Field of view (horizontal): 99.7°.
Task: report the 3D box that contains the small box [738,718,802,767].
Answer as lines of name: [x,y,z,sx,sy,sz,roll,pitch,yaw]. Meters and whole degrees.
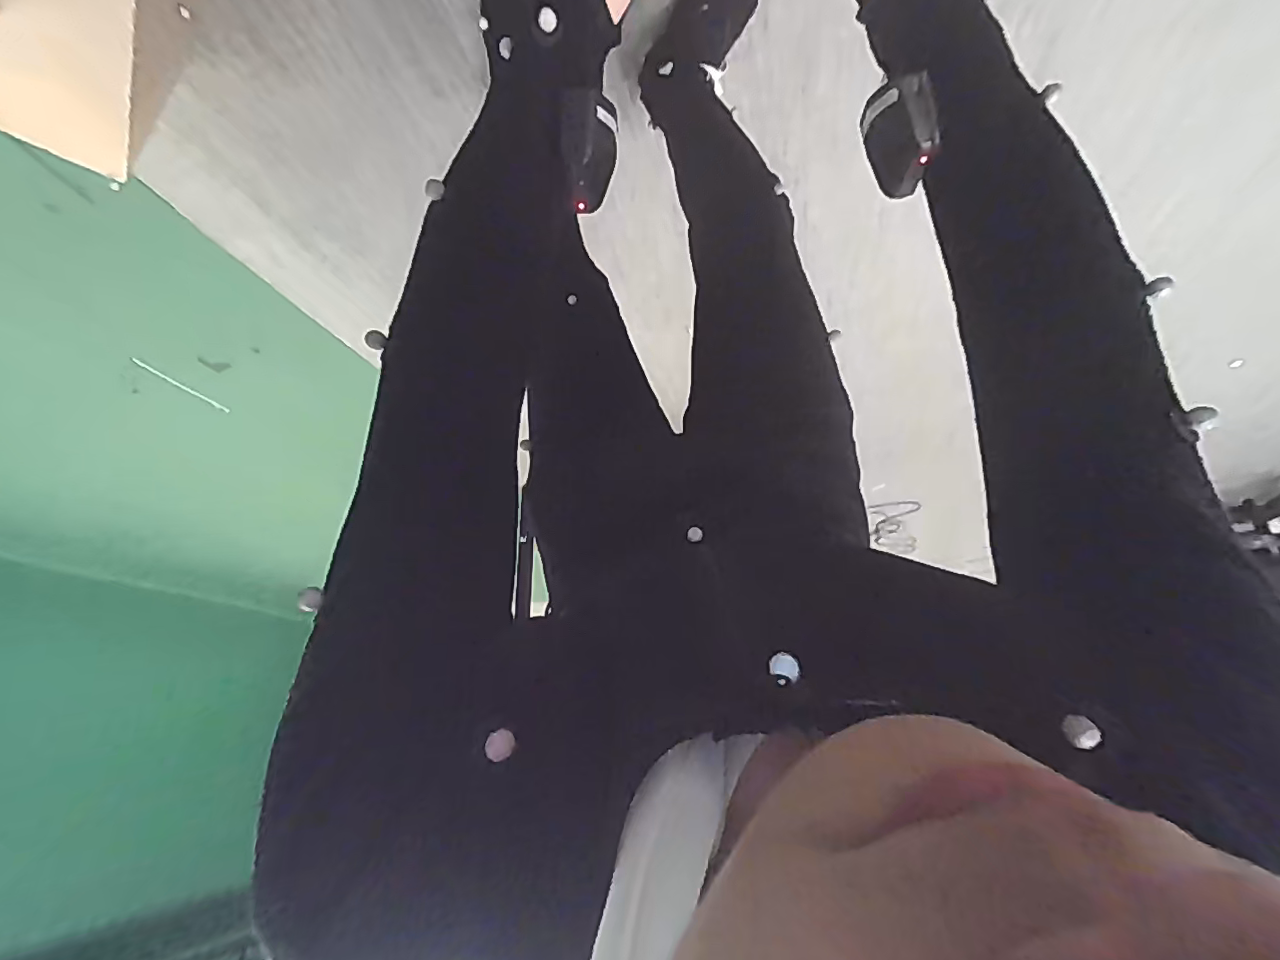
small box: [0.496,1.016,2.098,0.179,0.176,0.168,9,152,-21]

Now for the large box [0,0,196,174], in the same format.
large box: [-0.757,-0.697,0.649,0.320,0.320,0.408,20,148,-38]
